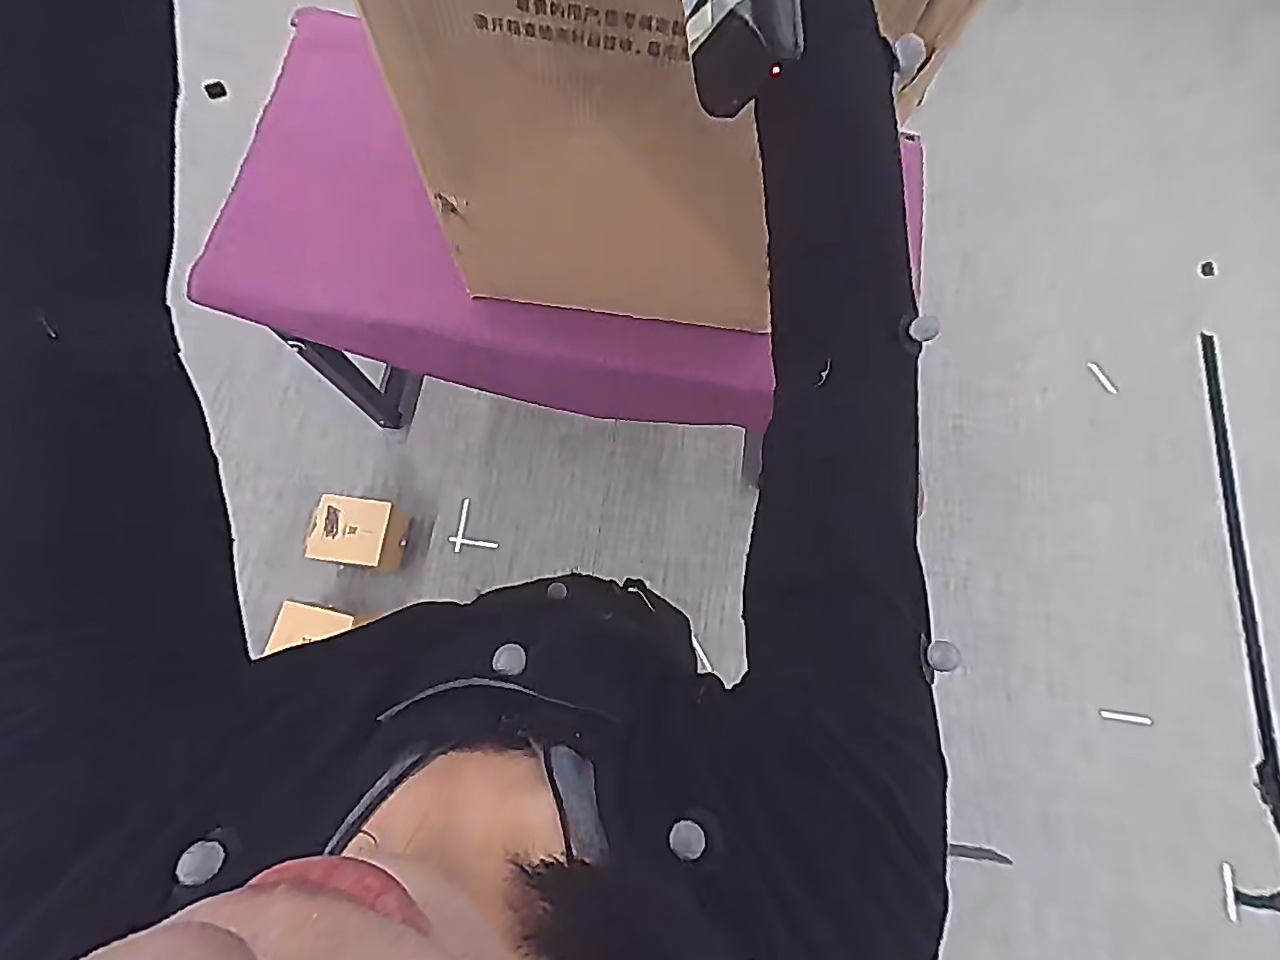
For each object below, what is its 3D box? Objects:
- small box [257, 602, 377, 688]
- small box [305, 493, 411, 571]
[{"bbox_3d":[-0.791,0.406,1.347,0.179,0.176,0.168,14,74,-1],"label":"small box"},{"bbox_3d":[-0.729,0.142,1.416,0.179,0.176,0.168,8,76,-4],"label":"small box"}]
